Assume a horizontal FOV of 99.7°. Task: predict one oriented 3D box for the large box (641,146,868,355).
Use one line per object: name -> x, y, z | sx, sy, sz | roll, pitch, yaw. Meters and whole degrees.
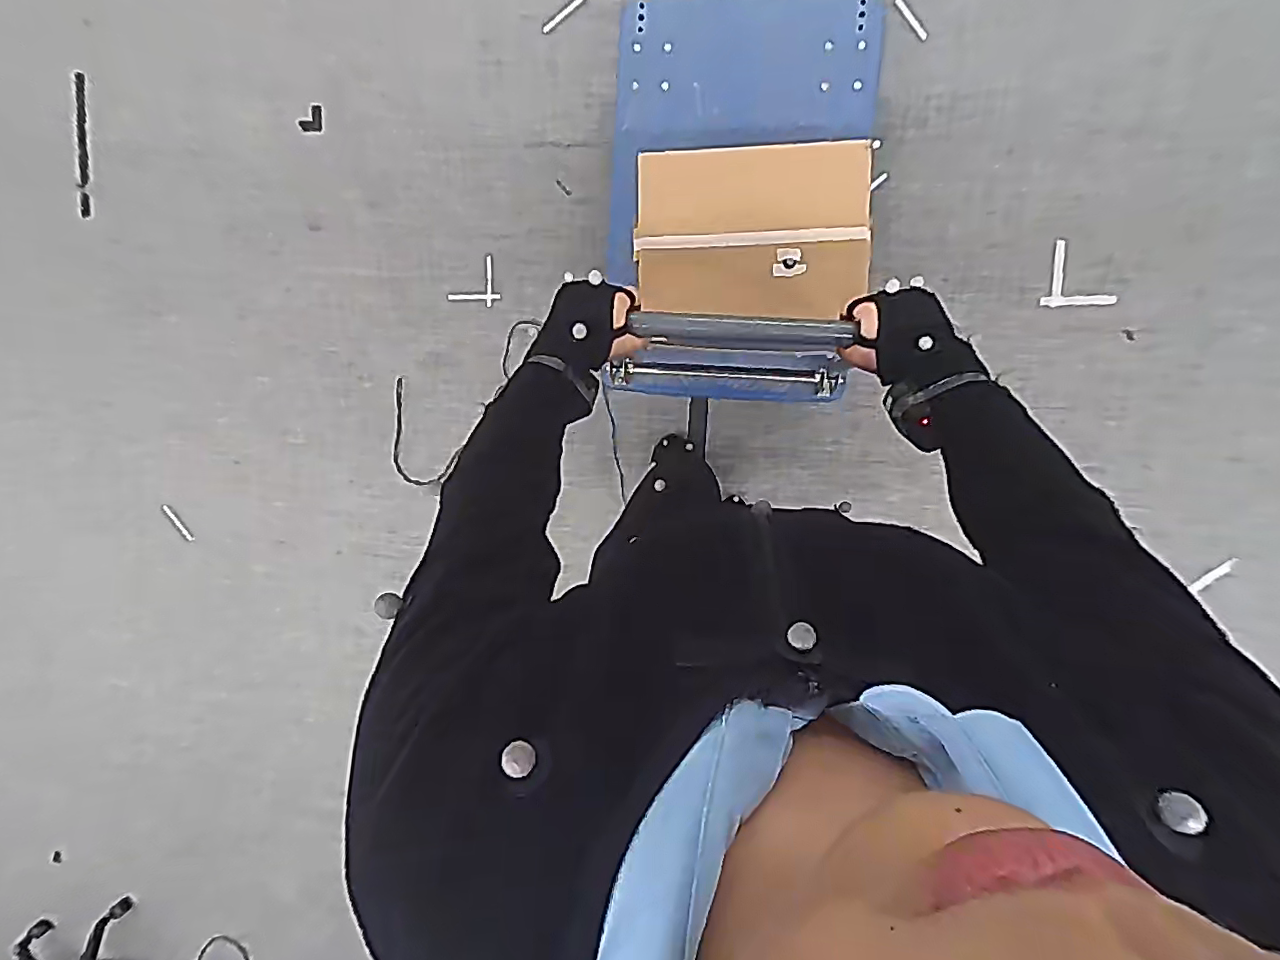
large box -> 0.214, -0.440, 1.117 | 0.408, 0.320, 0.320 | 0, 97, 5
